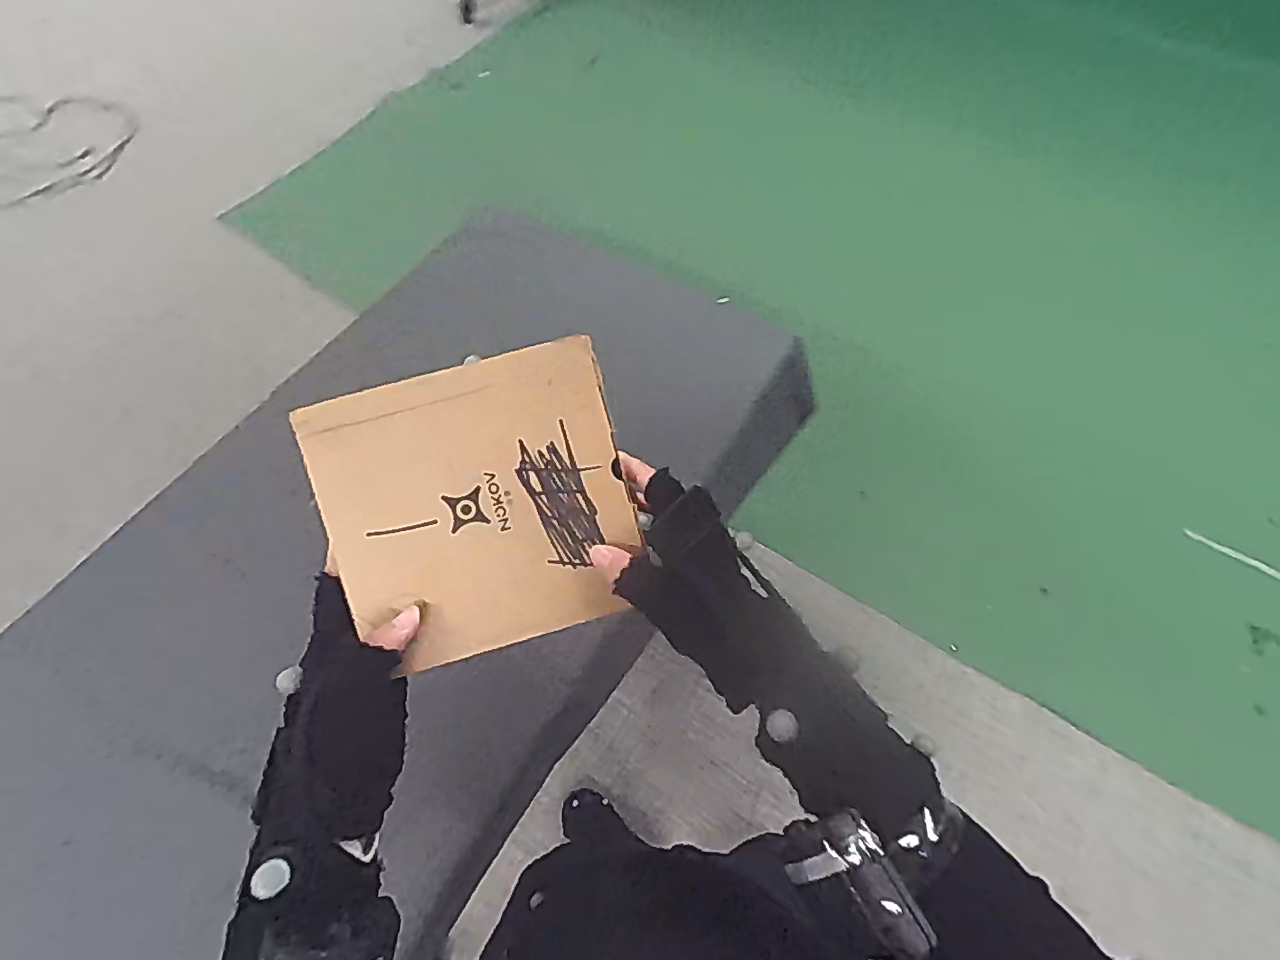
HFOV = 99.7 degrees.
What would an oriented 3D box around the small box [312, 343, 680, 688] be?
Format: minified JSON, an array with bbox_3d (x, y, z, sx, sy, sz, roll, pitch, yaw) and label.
[{"bbox_3d":[-0.088,0.015,0.394,0.179,0.176,0.168,-18,95,-5],"label":"small box"}]
